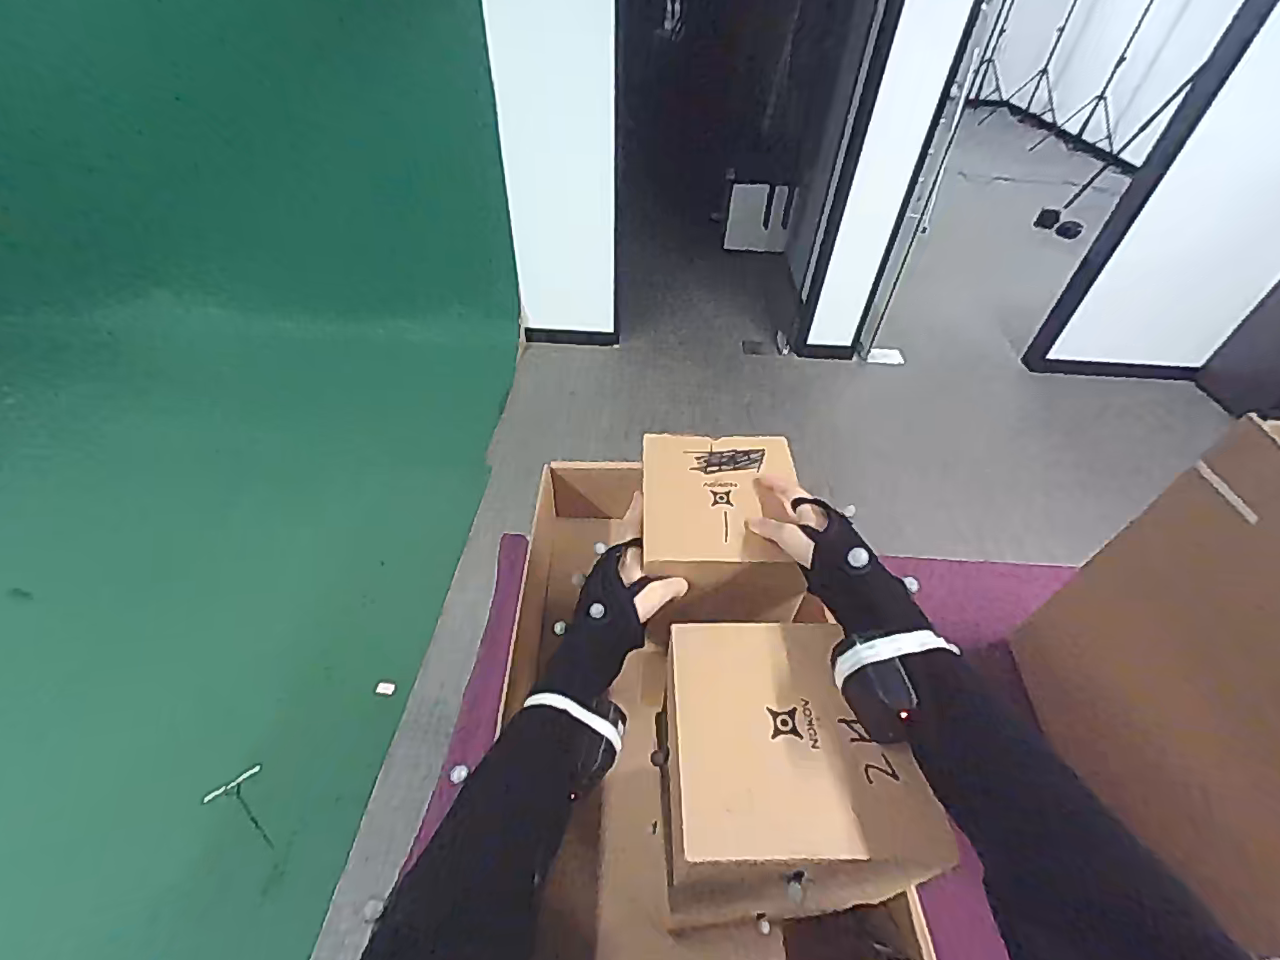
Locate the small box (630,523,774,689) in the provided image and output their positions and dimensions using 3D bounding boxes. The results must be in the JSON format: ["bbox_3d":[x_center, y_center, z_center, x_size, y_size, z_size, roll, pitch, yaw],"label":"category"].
[{"bbox_3d":[0.072,0.173,0.737,0.168,0.176,0.179,-2,48,-3],"label":"small box"}]

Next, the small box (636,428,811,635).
[{"bbox_3d":[0.079,0.060,0.620,0.168,0.176,0.179,0,49,0],"label":"small box"}]
